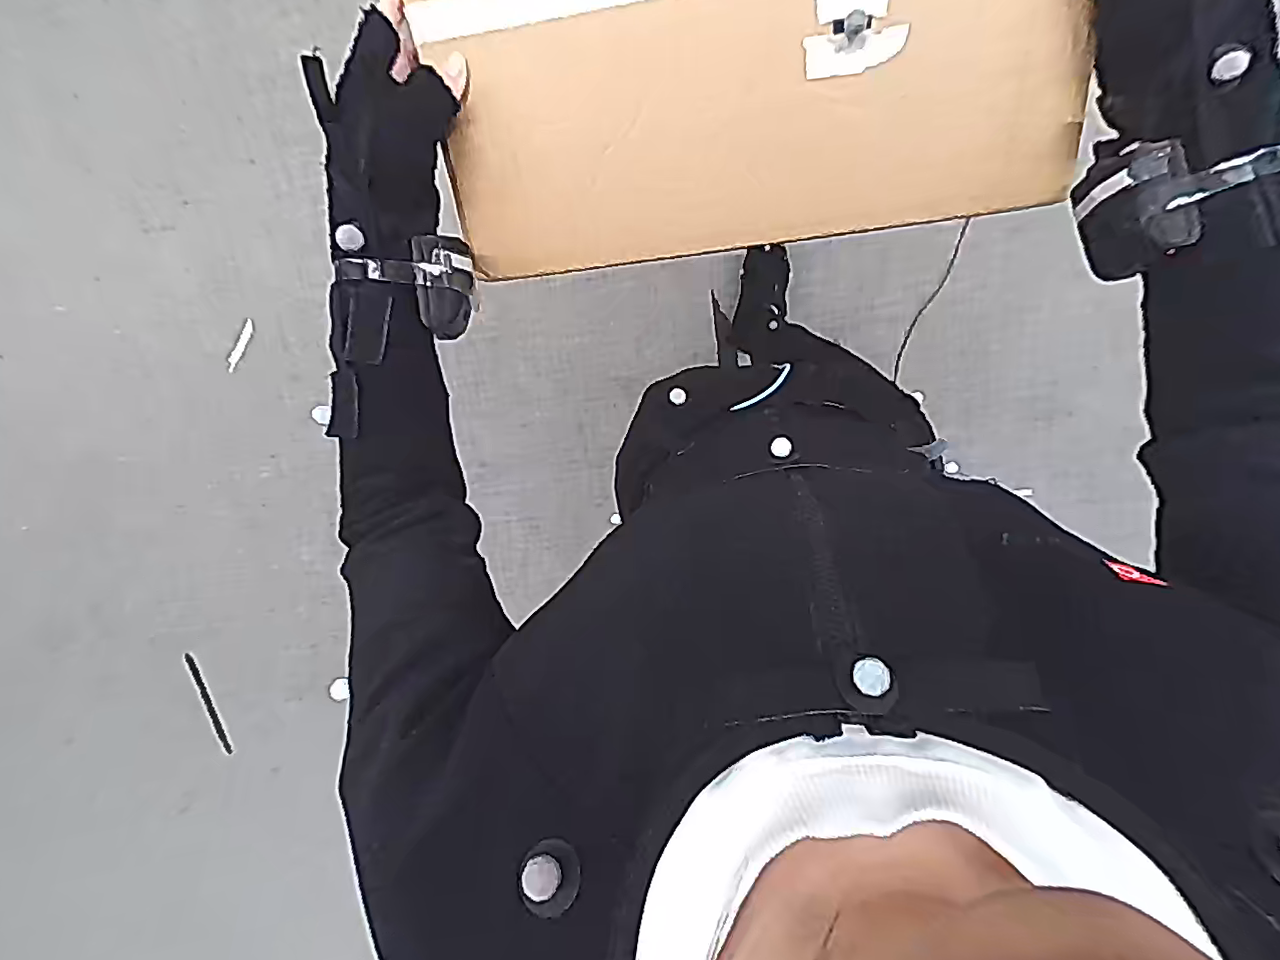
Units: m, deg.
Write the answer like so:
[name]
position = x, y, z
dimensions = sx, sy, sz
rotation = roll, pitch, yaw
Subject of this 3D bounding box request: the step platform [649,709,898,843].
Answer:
[step platform]
position = 0.368, 0.861, 1.562
dimensions = 0.684, 0.204, 0.286
rotation = -7, 103, 10

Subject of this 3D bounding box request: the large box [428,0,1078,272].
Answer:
[large box]
position = 0.070, -0.380, 0.461
dimensions = 0.408, 0.320, 0.320
rotation = -5, 115, 8
